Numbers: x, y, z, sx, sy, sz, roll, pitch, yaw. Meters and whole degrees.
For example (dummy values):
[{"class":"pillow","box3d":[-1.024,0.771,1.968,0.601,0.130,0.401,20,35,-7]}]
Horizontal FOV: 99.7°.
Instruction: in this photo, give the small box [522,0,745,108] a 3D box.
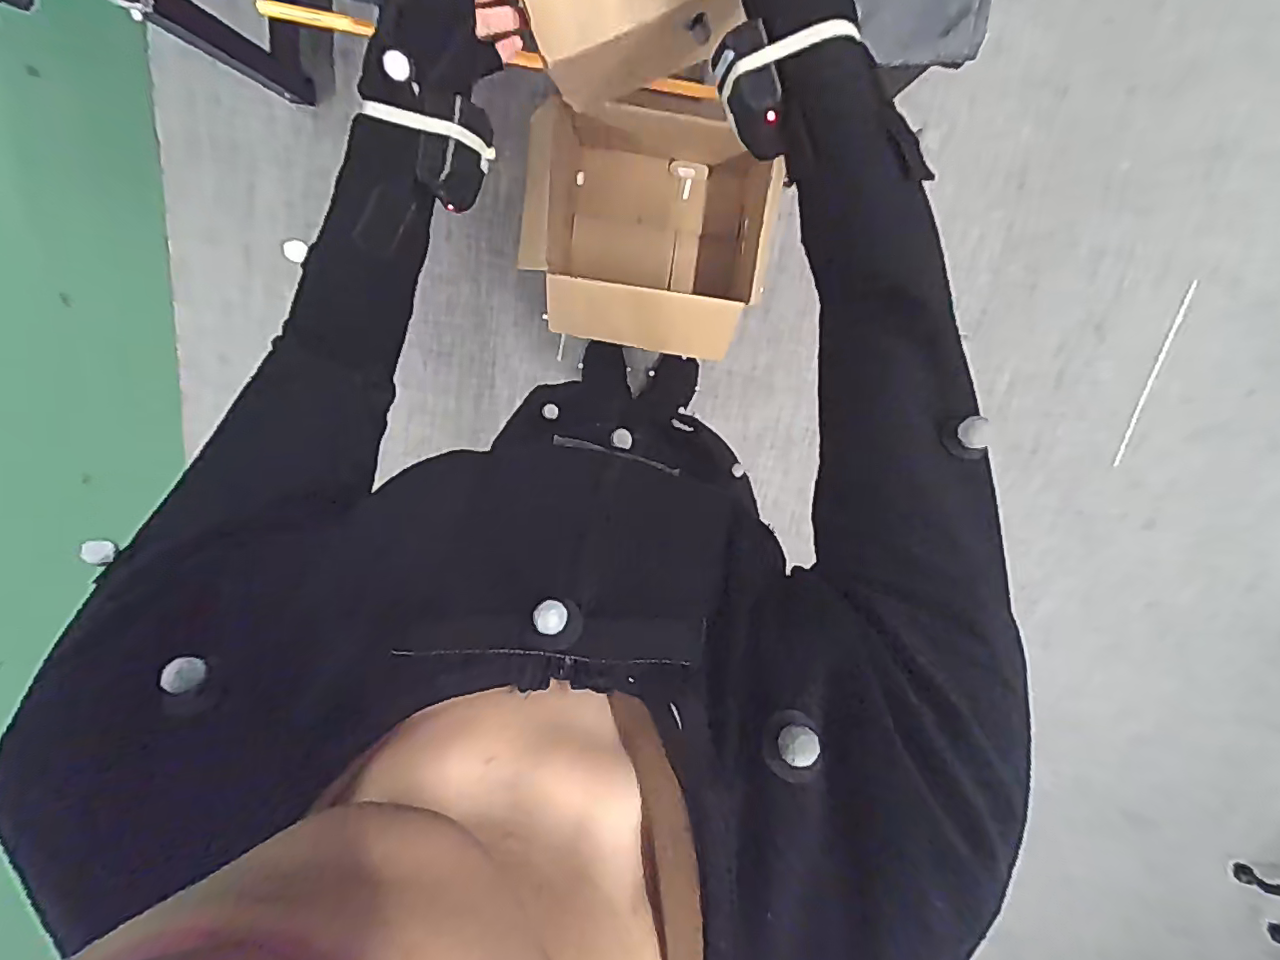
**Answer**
[{"class":"small box","box3d":[-0.015,-0.452,0.457,0.179,0.176,0.168,-16,111,11]}]
